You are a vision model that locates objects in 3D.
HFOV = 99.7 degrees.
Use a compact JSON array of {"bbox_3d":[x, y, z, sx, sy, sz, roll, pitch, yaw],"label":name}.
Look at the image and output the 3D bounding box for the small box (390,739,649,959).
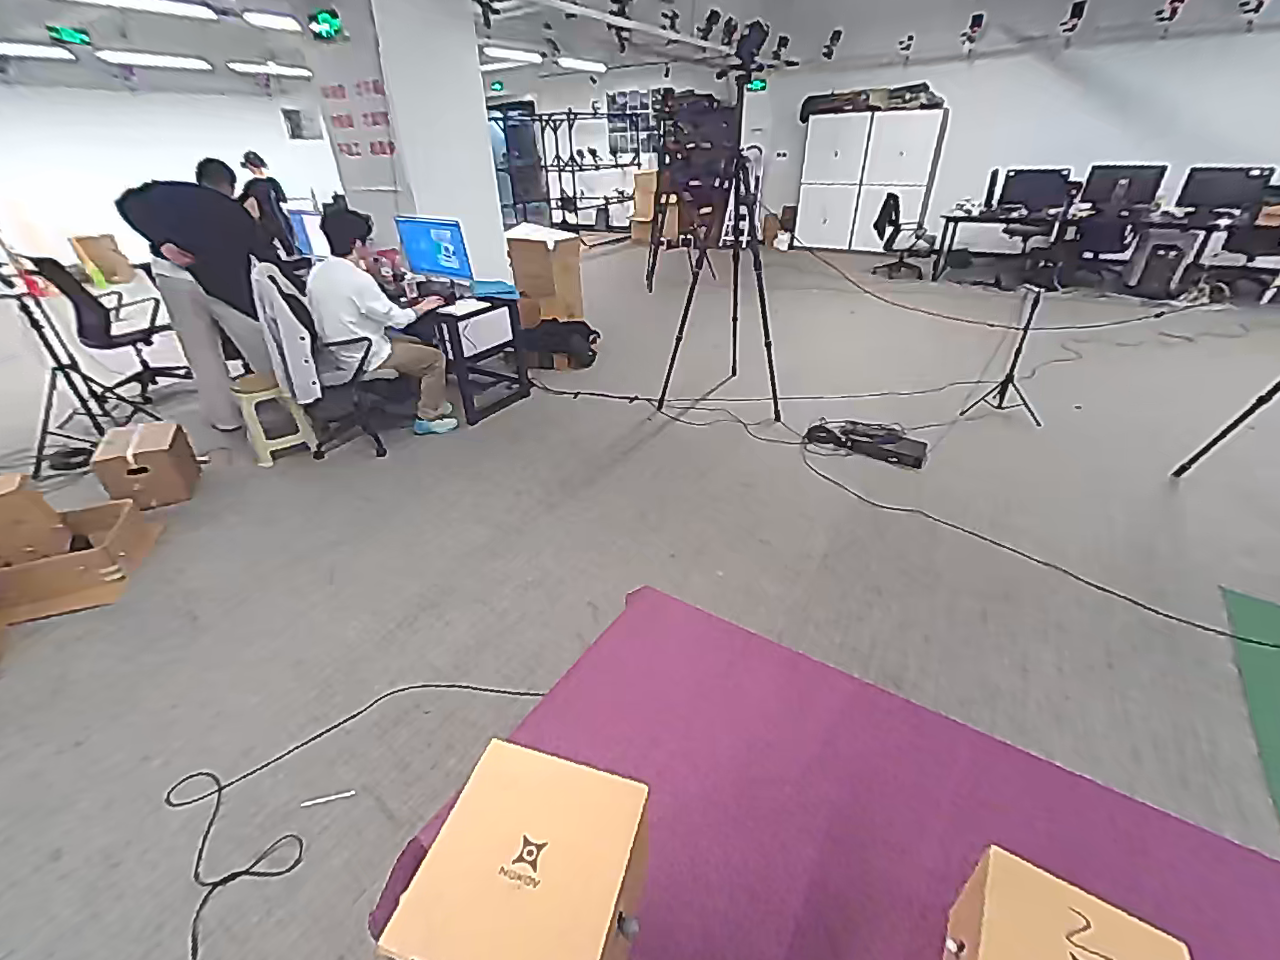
[{"bbox_3d":[-0.095,0.390,0.511,0.168,0.176,0.179,10,36,14],"label":"small box"}]
